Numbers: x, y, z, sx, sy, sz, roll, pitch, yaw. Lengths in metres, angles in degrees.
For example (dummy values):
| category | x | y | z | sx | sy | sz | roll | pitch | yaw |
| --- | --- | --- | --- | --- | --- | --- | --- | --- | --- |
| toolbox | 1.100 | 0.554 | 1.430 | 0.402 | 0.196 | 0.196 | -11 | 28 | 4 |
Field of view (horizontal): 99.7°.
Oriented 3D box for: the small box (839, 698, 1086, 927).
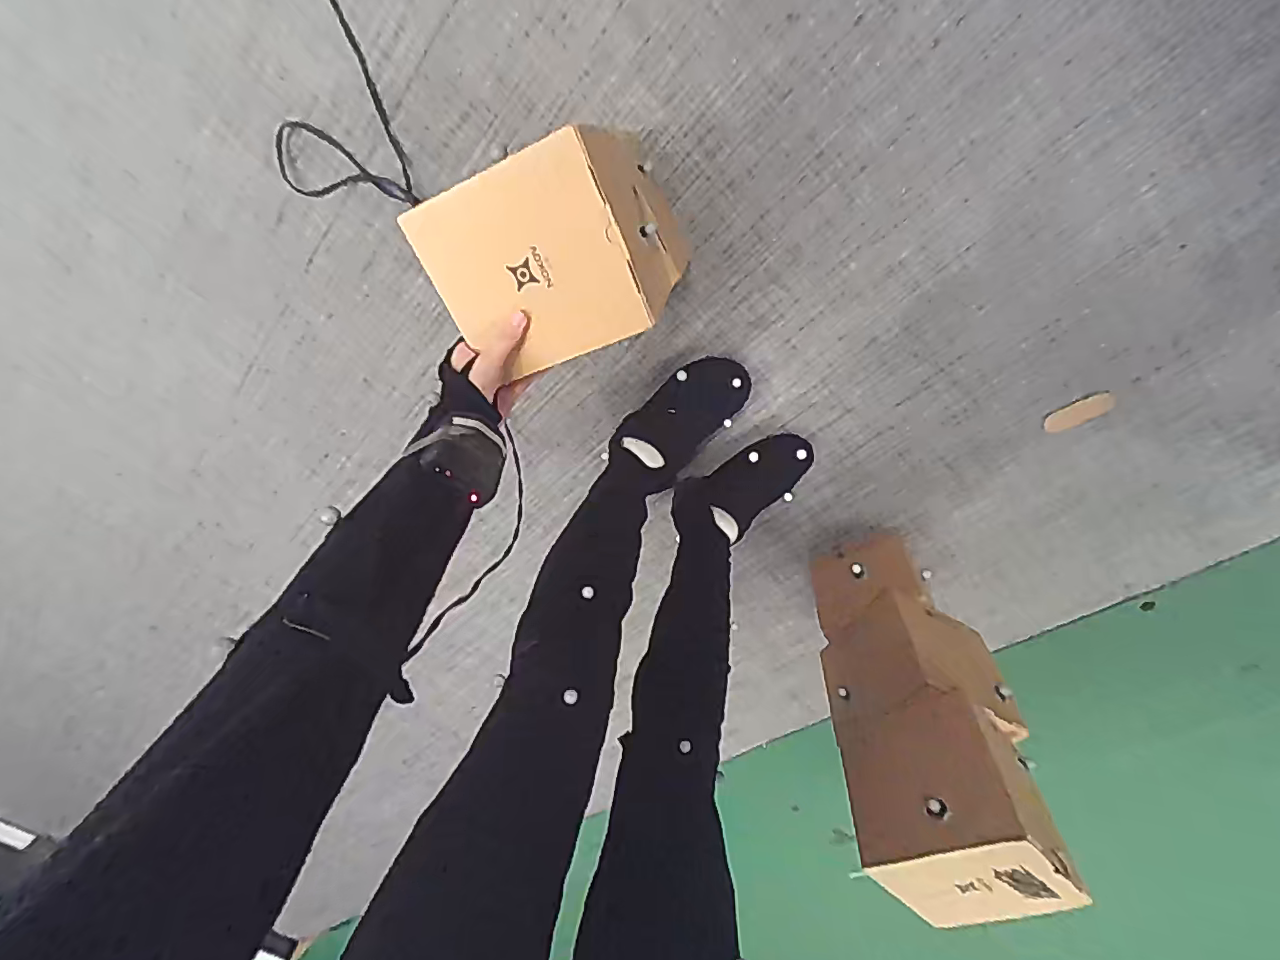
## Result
| category | x | y | z | sx | sy | sz | roll | pitch | yaw |
| --- | --- | --- | --- | --- | --- | --- | --- | --- | --- |
| small box | 0.368 | 0.394 | 0.649 | 0.179 | 0.176 | 0.168 | -34 | 112 | 27 |

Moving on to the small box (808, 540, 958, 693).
| category | x | y | z | sx | sy | sz | roll | pitch | yaw |
| --- | --- | --- | --- | --- | --- | --- | --- | --- | --- |
| small box | 0.406 | 0.225 | 0.929 | 0.168 | 0.176 | 0.179 | -27 | 114 | 23 |

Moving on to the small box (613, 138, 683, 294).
| category | x | y | z | sx | sy | sz | roll | pitch | yaw |
| --- | --- | --- | --- | --- | --- | --- | --- | --- | --- |
| small box | -0.054 | -0.299 | 0.673 | 0.179 | 0.176 | 0.168 | -21 | 116 | 21 |

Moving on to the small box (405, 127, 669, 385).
| category | x | y | z | sx | sy | sz | roll | pitch | yaw |
| --- | --- | --- | --- | --- | --- | --- | --- | --- | --- |
| small box | -0.083 | -0.219 | 0.536 | 0.179 | 0.176 | 0.168 | -16 | 117 | 18 |
